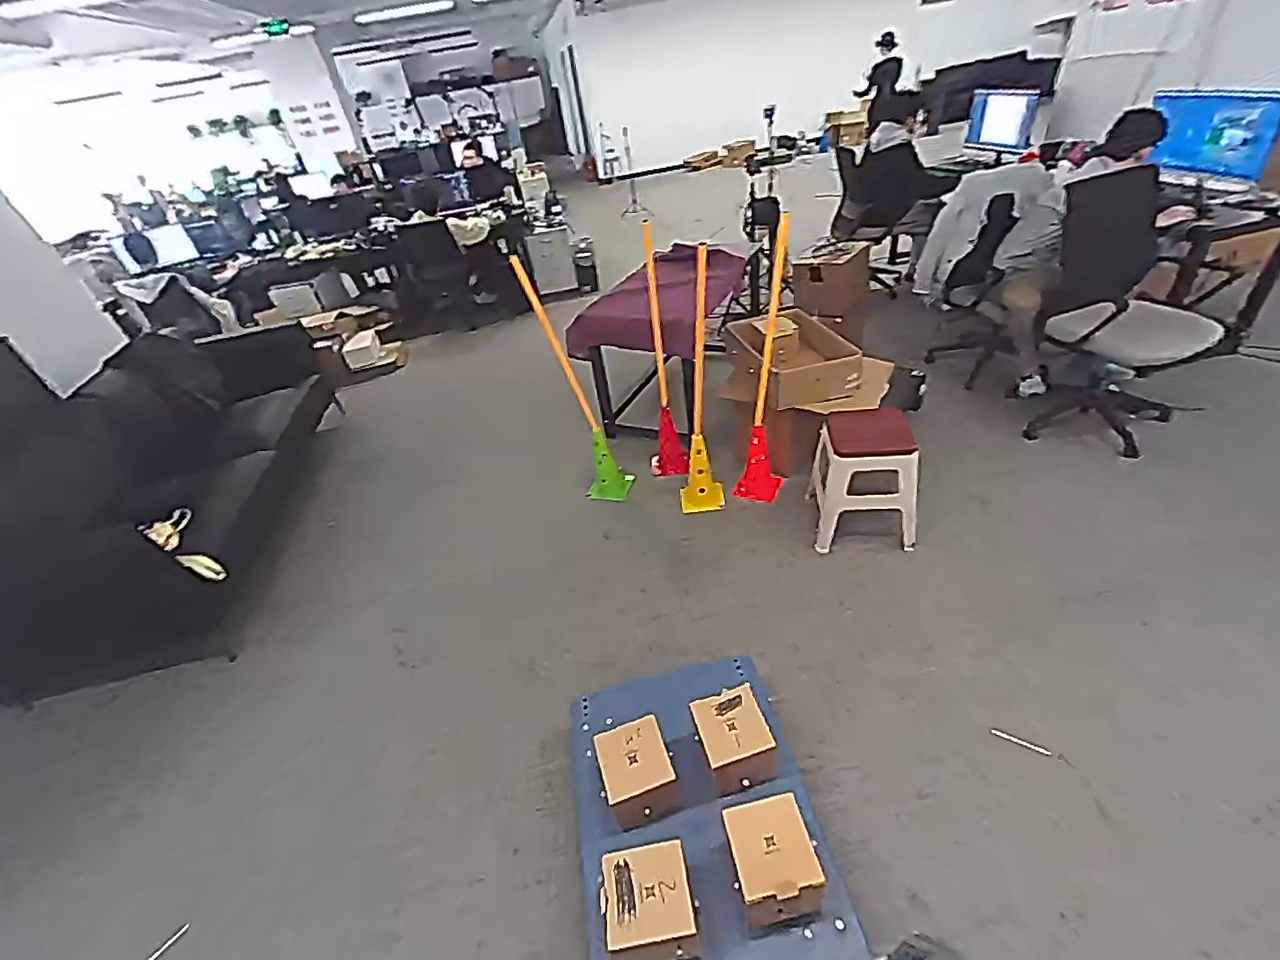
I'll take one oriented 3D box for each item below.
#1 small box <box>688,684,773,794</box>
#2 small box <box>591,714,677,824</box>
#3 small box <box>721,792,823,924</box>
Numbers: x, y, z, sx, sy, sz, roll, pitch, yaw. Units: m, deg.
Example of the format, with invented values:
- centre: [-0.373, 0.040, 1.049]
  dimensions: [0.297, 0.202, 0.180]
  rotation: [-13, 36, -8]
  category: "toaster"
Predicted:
- centre: [0.232, 0.670, 1.397]
  dimensions: [0.168, 0.176, 0.179]
  rotation: [-16, 38, -6]
  category: "small box"
- centre: [-0.013, 0.738, 1.368]
  dimensions: [0.168, 0.176, 0.179]
  rotation: [-16, 38, -9]
  category: "small box"
- centre: [0.281, 0.827, 1.184]
  dimensions: [0.168, 0.176, 0.179]
  rotation: [-13, 37, -3]
  category: "small box"
